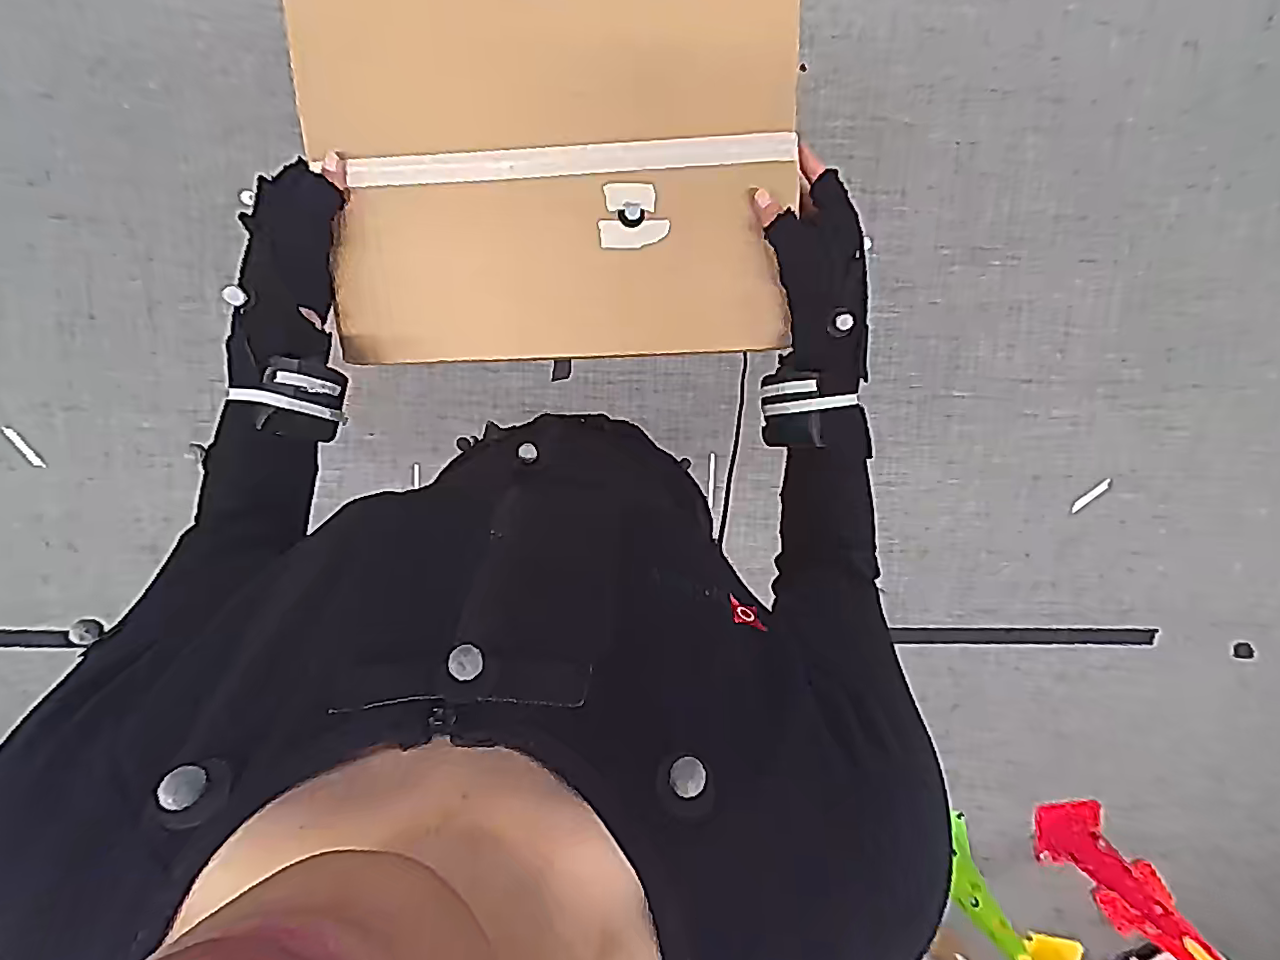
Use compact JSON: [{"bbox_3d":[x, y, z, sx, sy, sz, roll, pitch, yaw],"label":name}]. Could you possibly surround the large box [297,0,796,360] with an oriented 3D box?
[{"bbox_3d":[-0.068,-0.304,0.597,0.408,0.320,0.320,-2,104,2],"label":"large box"}]
